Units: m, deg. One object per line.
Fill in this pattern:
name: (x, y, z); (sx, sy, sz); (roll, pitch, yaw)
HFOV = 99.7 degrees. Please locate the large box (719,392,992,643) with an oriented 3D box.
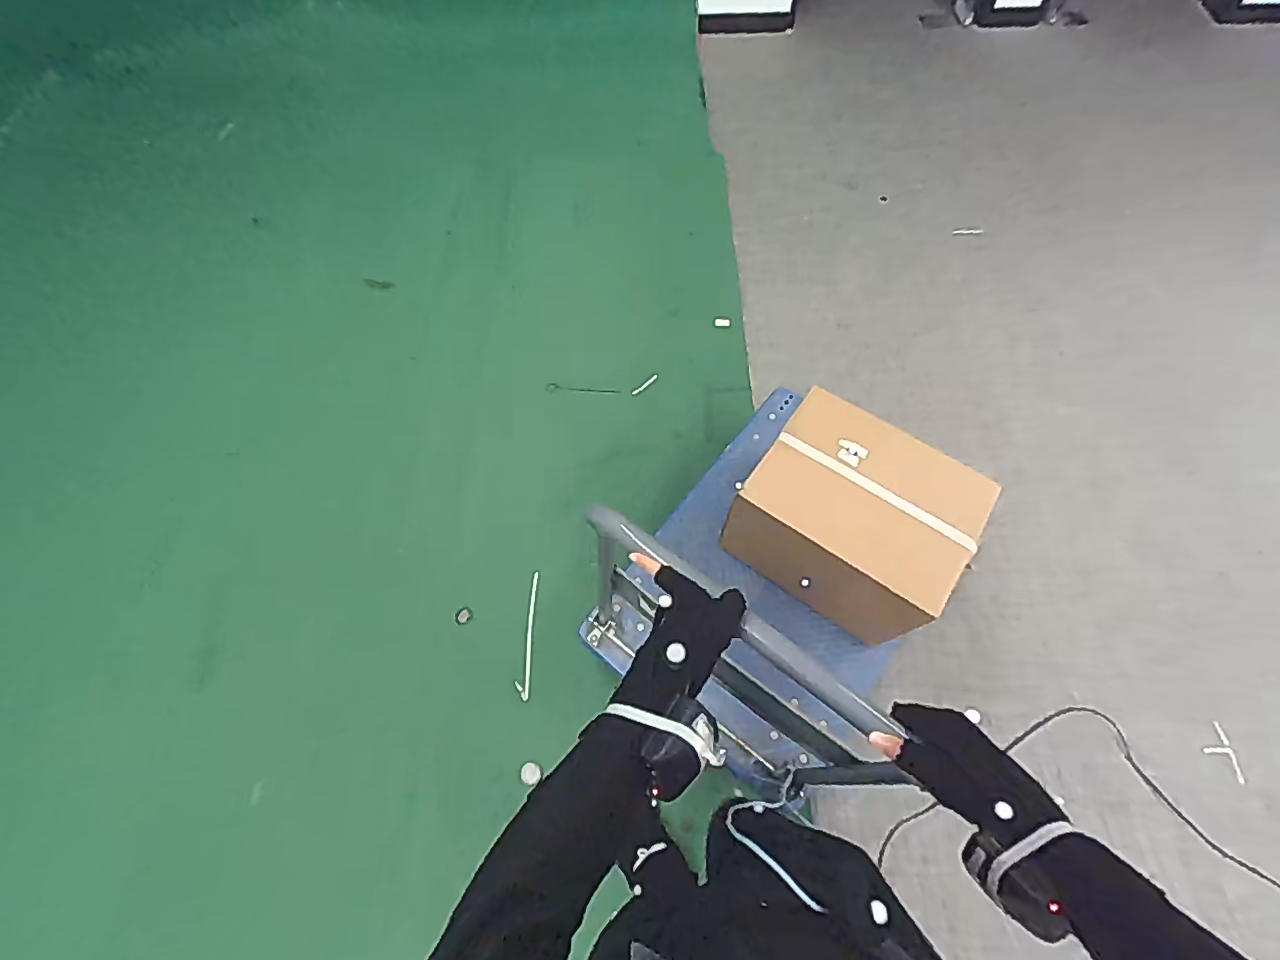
large box: (0.428, 0.090, 1.161); (0.408, 0.320, 0.320); (33, 68, 17)
